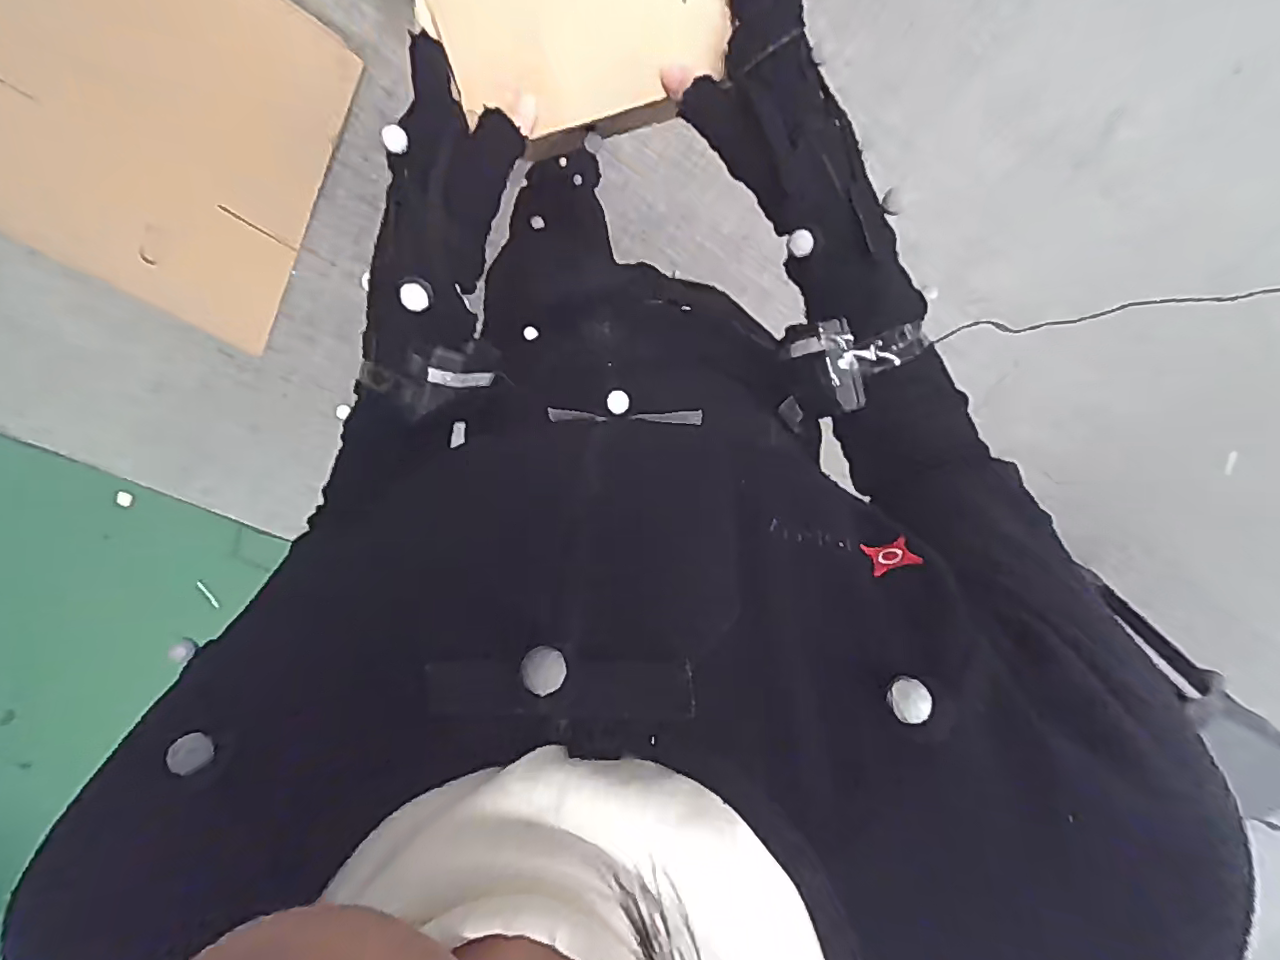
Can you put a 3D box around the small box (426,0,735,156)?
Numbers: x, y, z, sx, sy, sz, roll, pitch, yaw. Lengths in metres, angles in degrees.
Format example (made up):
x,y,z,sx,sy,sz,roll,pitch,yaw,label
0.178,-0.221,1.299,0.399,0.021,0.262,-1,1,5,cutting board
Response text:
x,y,z,sx,sy,sz,roll,pitch,yaw,label
-0.046,-0.348,0.376,0.179,0.176,0.168,-16,115,7,small box
